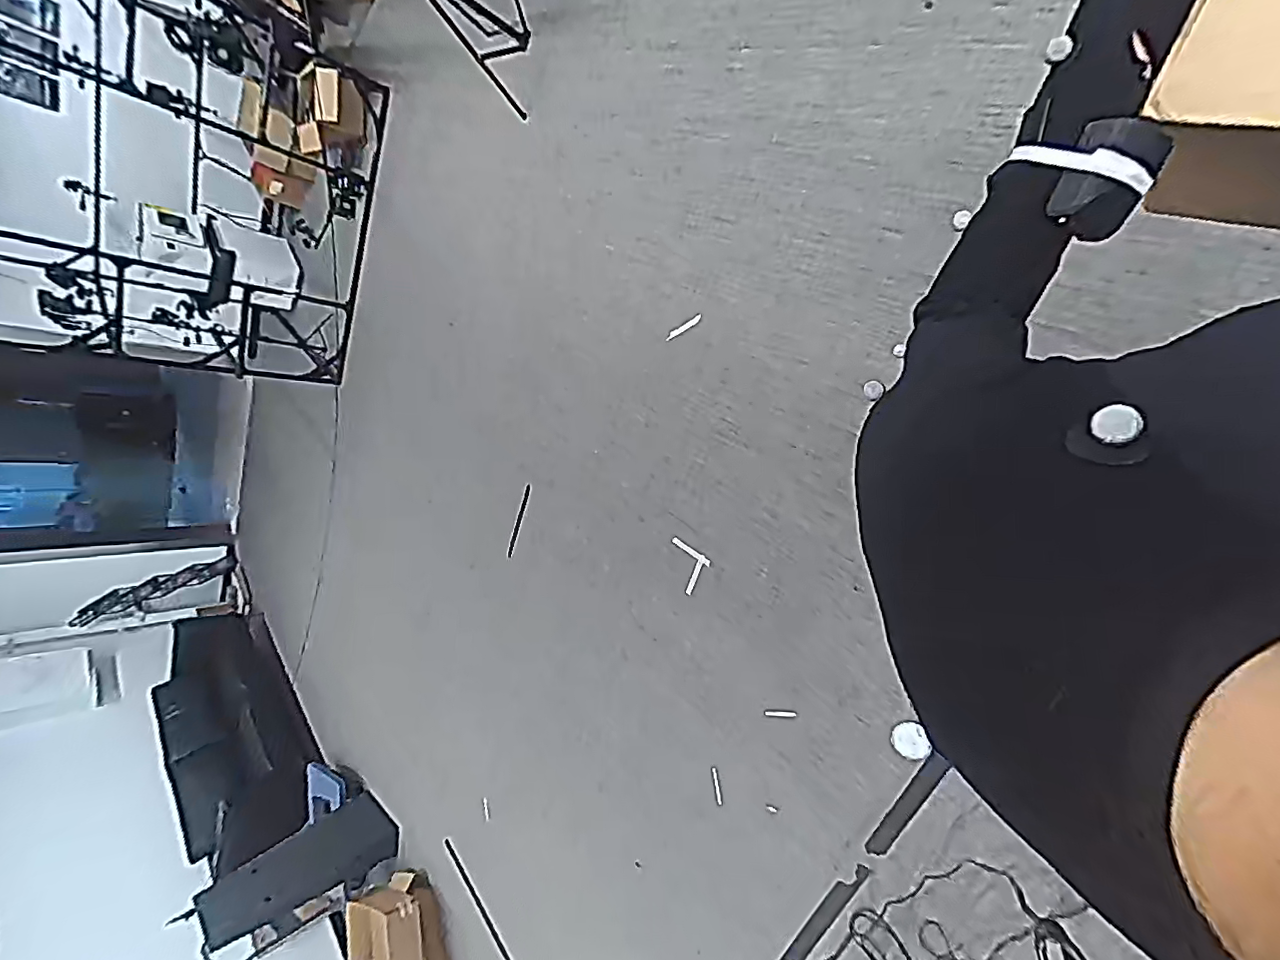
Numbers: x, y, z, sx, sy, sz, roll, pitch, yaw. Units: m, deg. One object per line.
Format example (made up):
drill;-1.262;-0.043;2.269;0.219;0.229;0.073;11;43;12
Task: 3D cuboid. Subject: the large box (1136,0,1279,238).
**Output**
large box;0.612;-0.316;0.311;0.408;0.320;0.320;30;119;34
